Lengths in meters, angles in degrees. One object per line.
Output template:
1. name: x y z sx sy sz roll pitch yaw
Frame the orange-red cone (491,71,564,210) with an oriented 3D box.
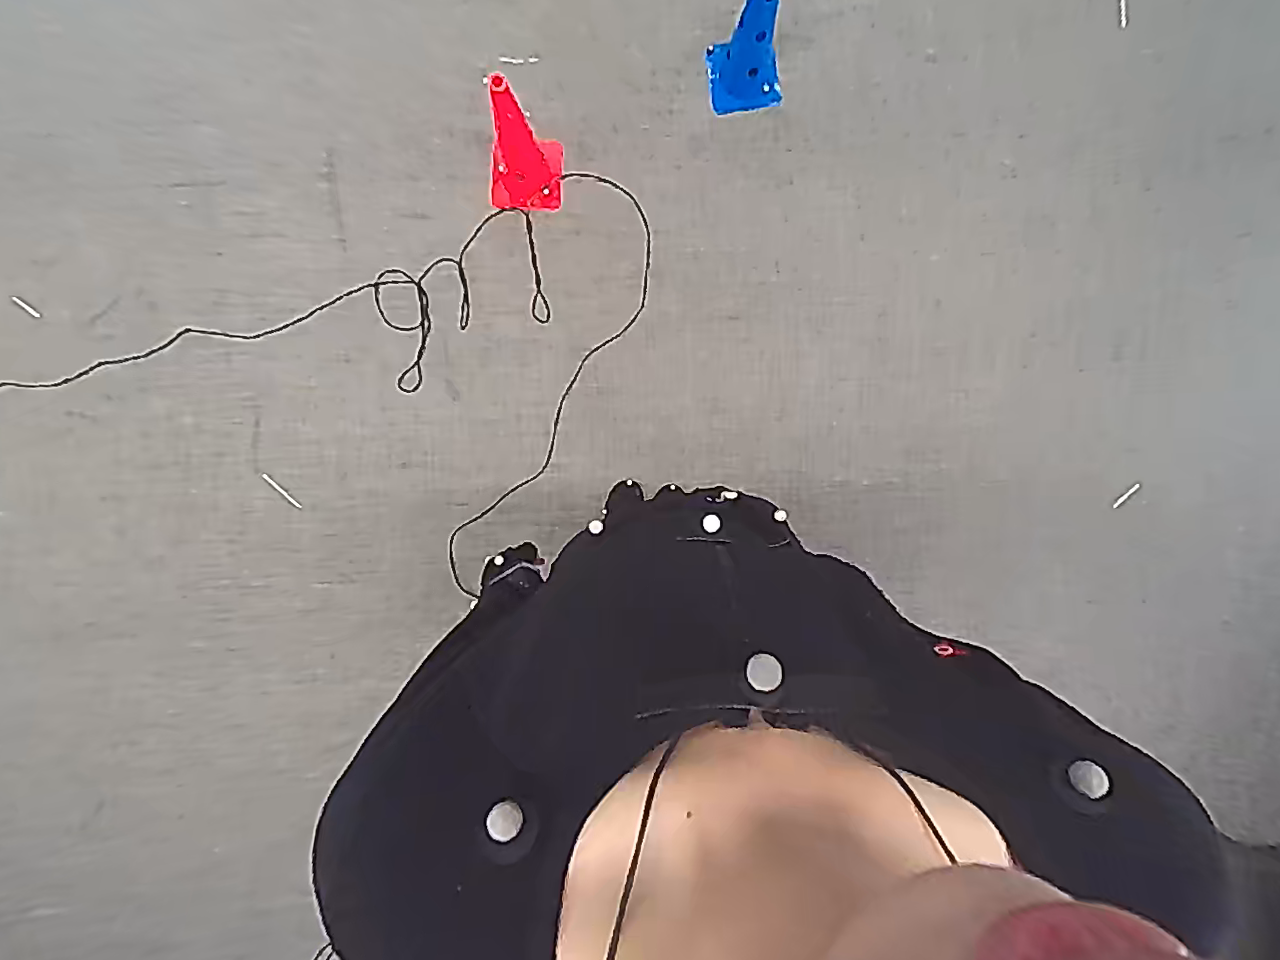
1. orange-red cone: -0.312 -0.871 1.354 0.198 0.360 0.199 3 87 -2
